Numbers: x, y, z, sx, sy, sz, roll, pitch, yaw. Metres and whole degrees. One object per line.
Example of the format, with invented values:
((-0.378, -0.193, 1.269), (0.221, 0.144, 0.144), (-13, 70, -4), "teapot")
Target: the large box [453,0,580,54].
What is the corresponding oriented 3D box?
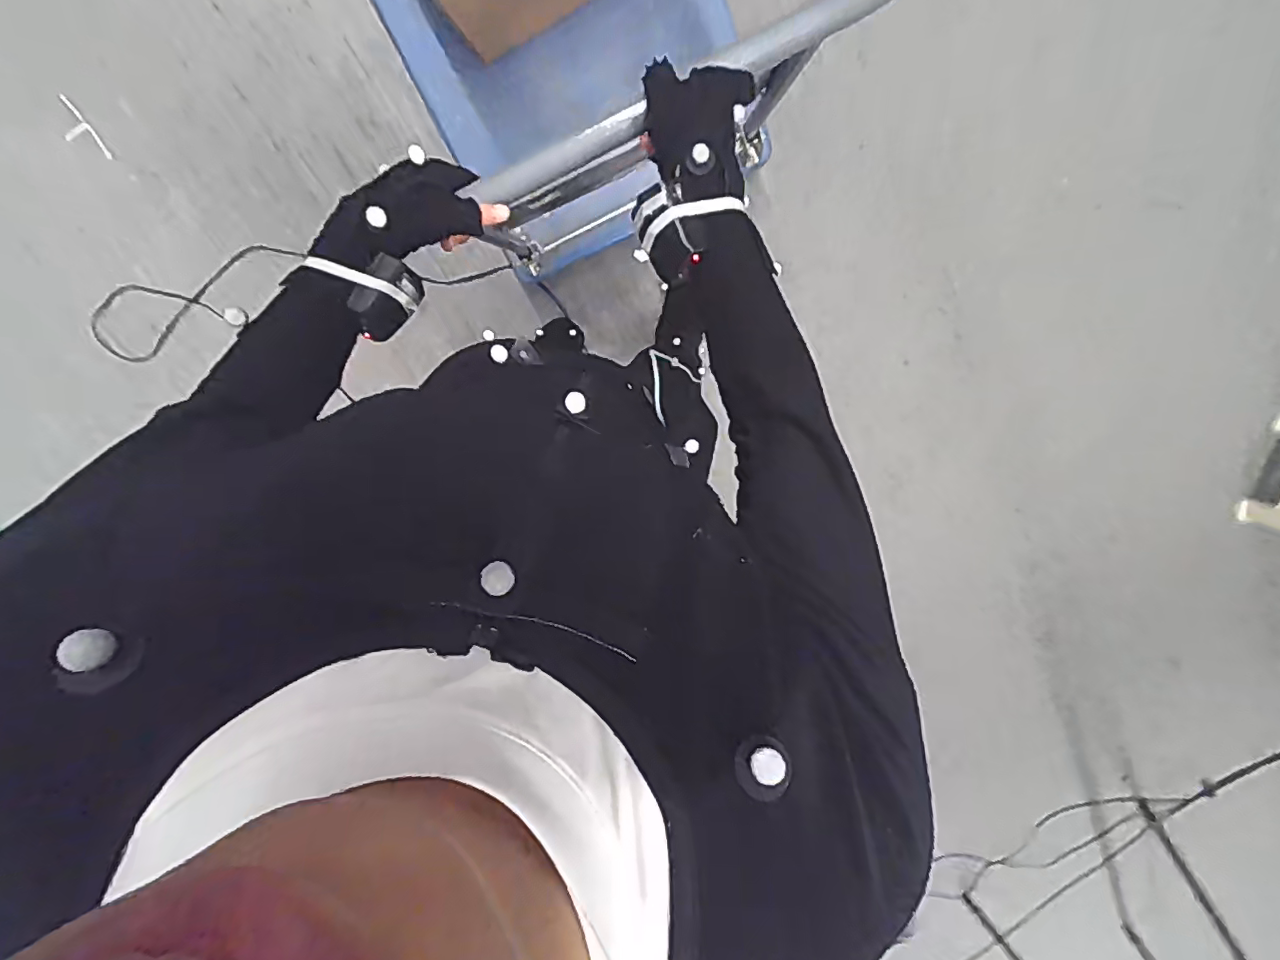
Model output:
((-0.159, -0.933, 0.783), (0.408, 0.320, 0.320), (-25, 111, 10), "large box")
